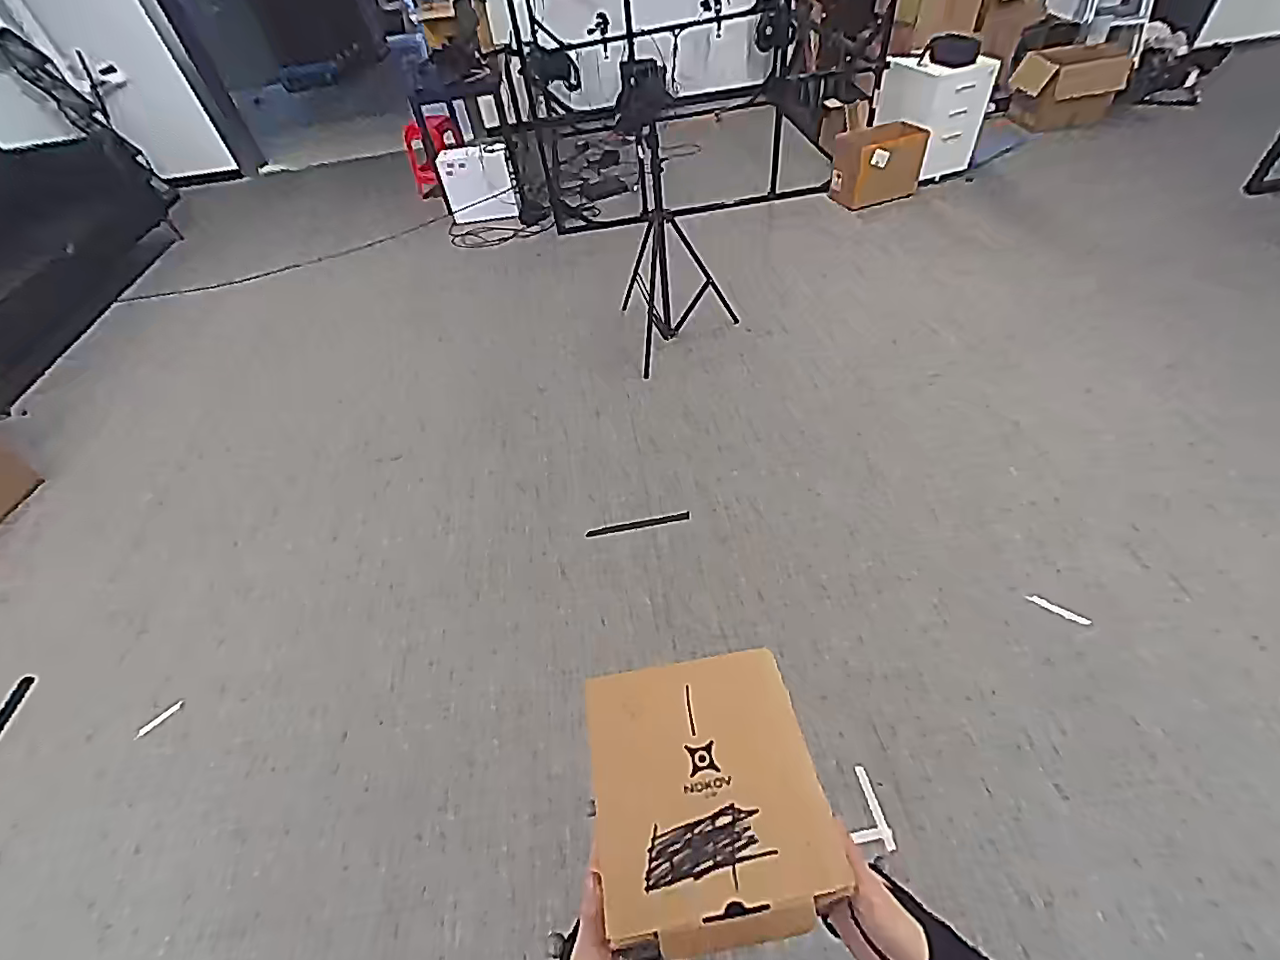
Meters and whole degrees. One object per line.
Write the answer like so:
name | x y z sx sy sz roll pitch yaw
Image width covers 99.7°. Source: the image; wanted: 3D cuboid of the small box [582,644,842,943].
small box | 0.048 0.271 0.464 0.168 0.176 0.179 -8 45 -4
